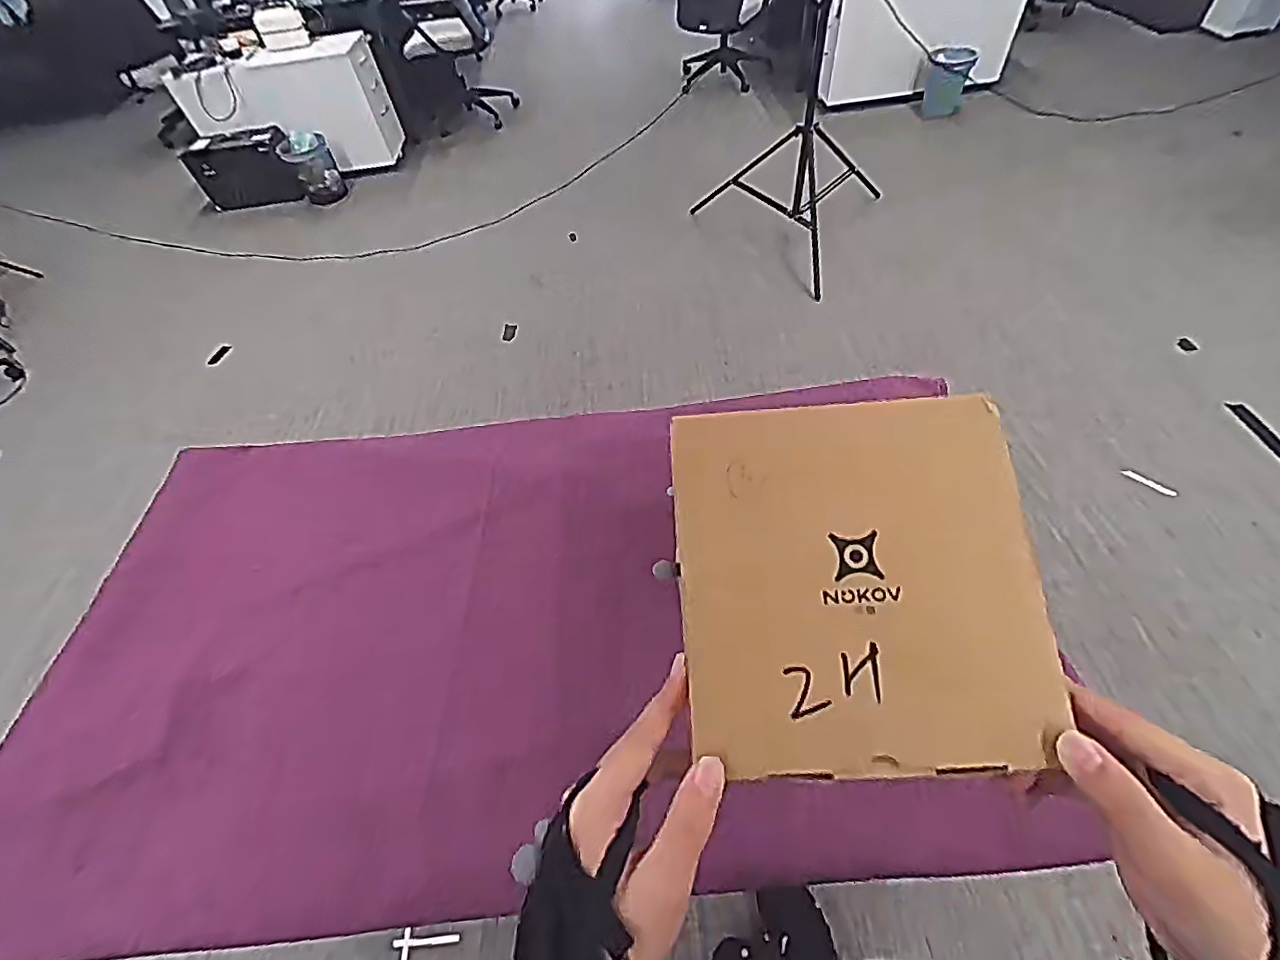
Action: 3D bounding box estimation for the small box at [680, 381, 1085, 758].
[{"bbox_3d":[0.109,0.058,0.332,0.168,0.176,0.179,-3,74,4],"label":"small box"}]
